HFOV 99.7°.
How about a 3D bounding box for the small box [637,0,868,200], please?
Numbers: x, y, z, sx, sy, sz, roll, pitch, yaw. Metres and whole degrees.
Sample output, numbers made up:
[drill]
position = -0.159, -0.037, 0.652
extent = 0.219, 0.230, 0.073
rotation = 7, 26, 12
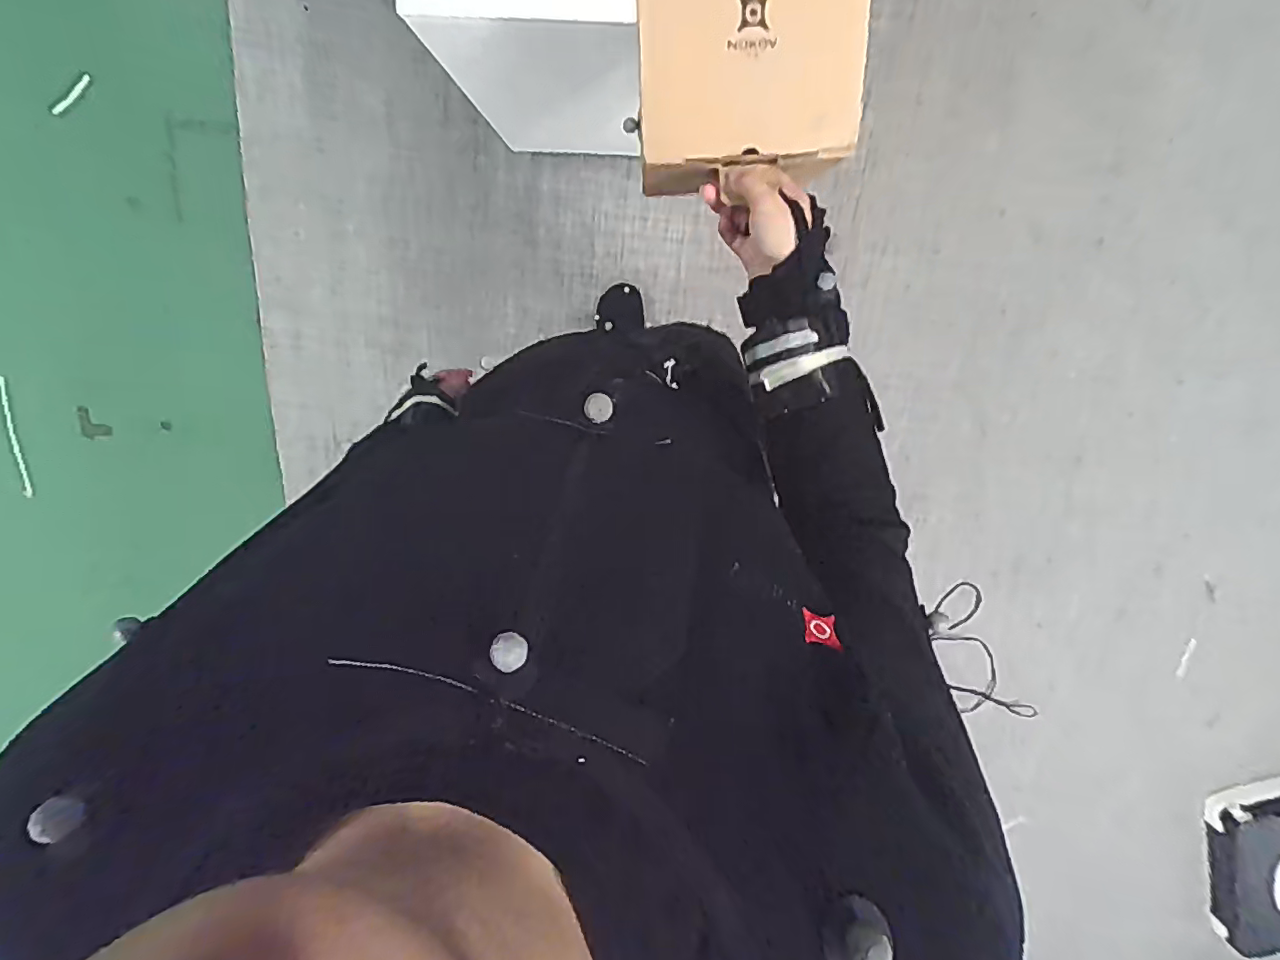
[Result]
[small box]
position = 0.082, -0.349, 0.465
extent = 0.168, 0.176, 0.179
rotation = -3, 108, 1
